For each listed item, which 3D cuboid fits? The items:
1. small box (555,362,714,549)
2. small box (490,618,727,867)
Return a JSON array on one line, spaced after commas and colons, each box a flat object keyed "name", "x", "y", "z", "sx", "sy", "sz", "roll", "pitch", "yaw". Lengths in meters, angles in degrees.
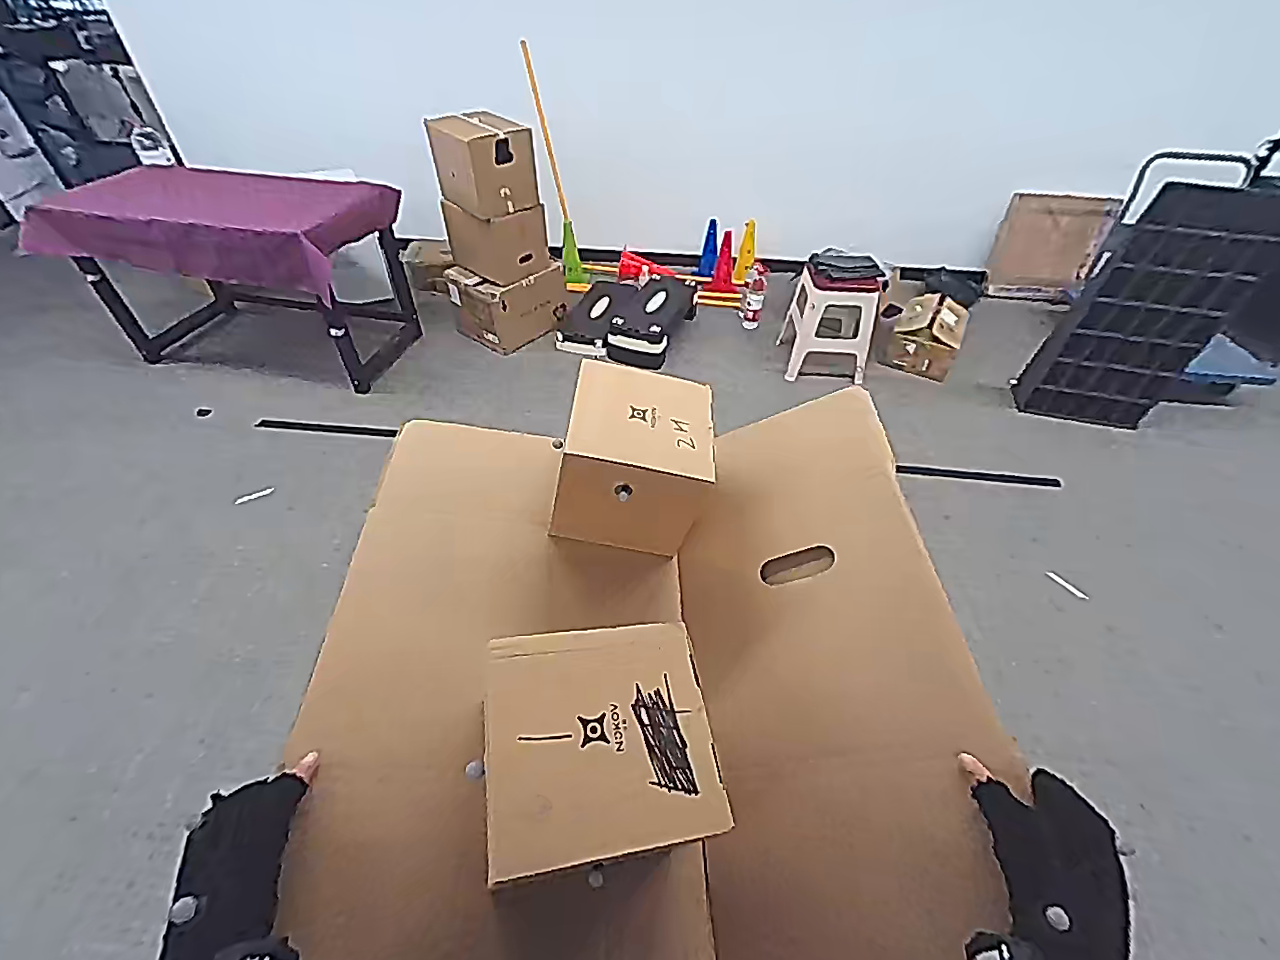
[{"name": "small box", "x": -0.010, "y": -0.026, "z": 0.724, "sx": 0.179, "sy": 0.176, "sz": 0.168, "roll": 12, "pitch": 50, "yaw": -8}, {"name": "small box", "x": -0.045, "y": 0.242, "z": 0.500, "sx": 0.179, "sy": 0.176, "sz": 0.168, "roll": -1, "pitch": 53, "yaw": -16}]
